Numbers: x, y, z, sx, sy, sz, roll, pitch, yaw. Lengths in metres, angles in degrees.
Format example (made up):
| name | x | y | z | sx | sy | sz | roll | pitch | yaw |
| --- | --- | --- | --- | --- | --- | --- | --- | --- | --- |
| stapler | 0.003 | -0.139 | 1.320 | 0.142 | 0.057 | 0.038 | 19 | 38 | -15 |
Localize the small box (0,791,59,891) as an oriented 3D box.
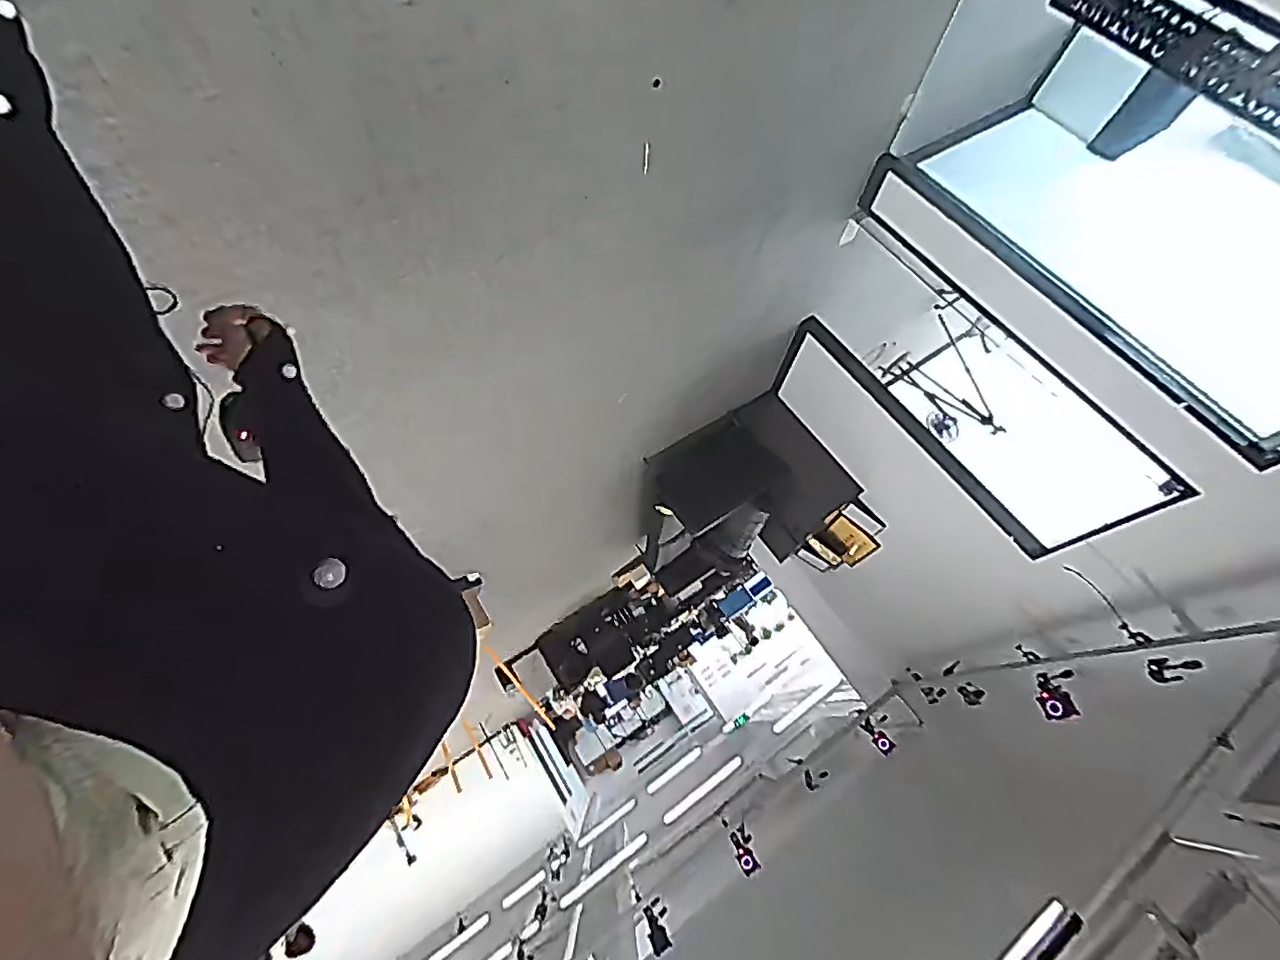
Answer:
| name | x | y | z | sx | sy | sz | roll | pitch | yaw |
| --- | --- | --- | --- | --- | --- | --- | --- | --- | --- |
| small box | -1.546 | 0.869 | 1.270 | 0.179 | 0.176 | 0.168 | -33 | 161 | -9 |
